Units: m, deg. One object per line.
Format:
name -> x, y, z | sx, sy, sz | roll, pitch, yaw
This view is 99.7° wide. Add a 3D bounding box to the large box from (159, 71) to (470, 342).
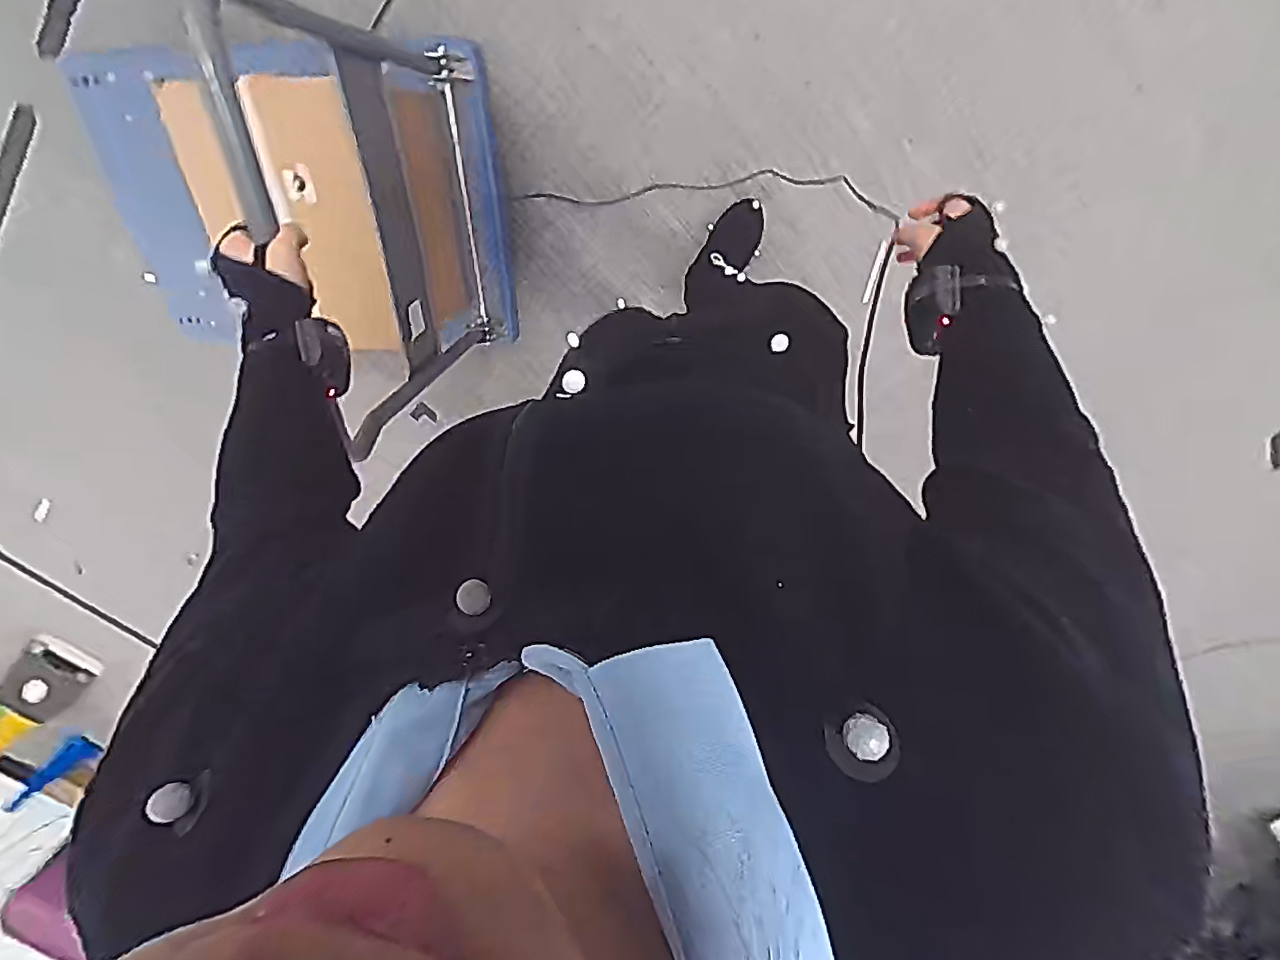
large box -> -0.554, -0.499, 1.023 | 0.320, 0.320, 0.408 | 3, 121, 5
